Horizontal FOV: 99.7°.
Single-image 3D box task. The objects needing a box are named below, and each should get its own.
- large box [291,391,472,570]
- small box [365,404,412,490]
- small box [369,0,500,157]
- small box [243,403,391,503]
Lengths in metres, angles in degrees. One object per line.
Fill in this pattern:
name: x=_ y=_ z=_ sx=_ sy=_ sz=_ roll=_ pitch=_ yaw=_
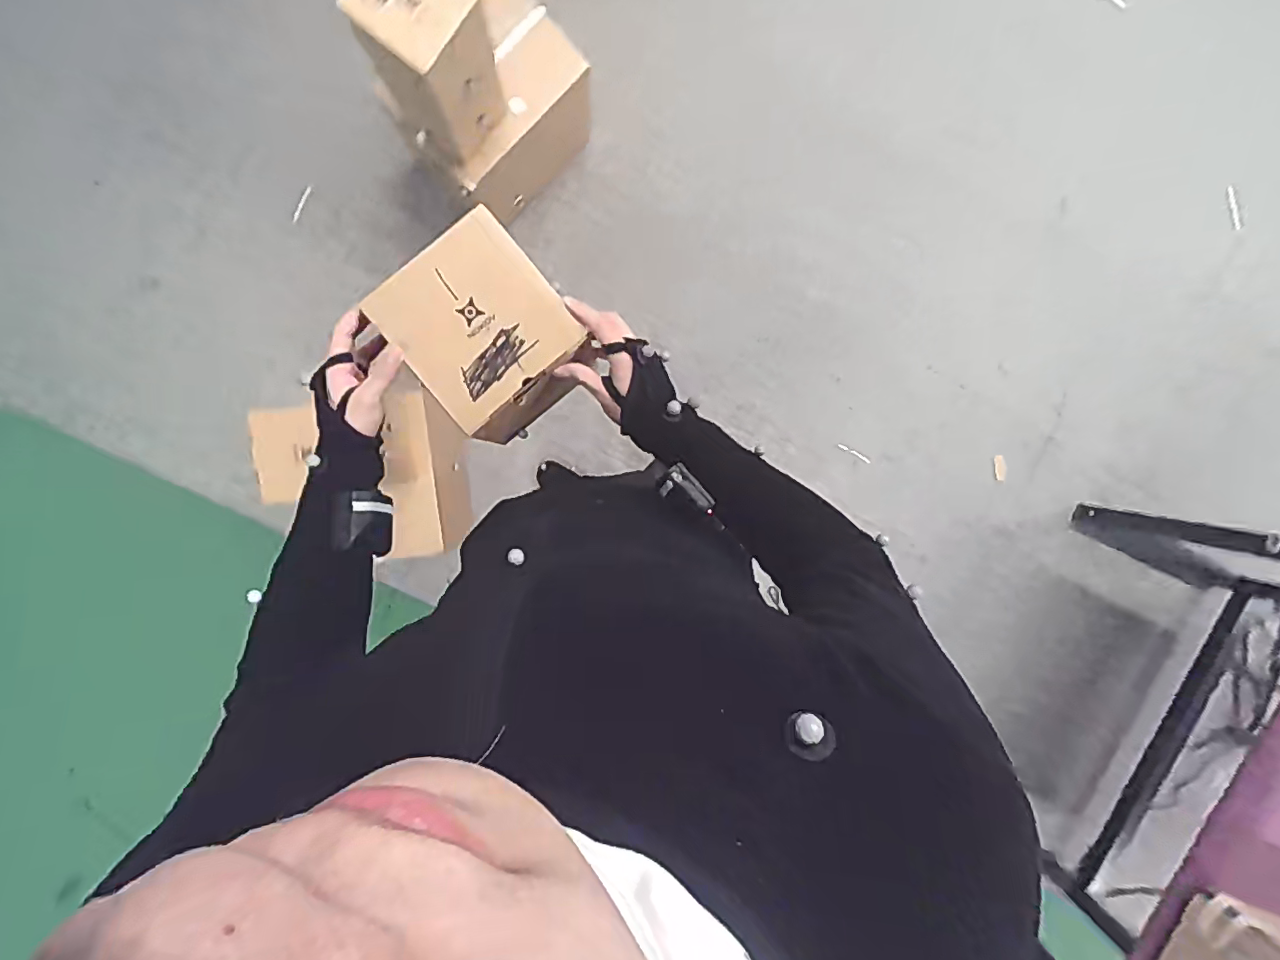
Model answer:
large box: x=-0.659 y=-0.014 z=1.436 sx=0.320 sy=0.320 sz=0.408 roll=-7 pitch=97 yaw=-2
small box: x=-0.619 y=-0.066 z=1.186 sx=0.168 sy=0.176 sz=0.179 roll=-7 pitch=96 yaw=-3
small box: x=-0.416 y=-0.820 z=1.132 sx=0.179 sy=0.176 sz=0.168 roll=37 pitch=91 yaw=-8
small box: x=-0.600 y=-0.054 z=1.024 sx=0.179 sy=0.176 sz=0.168 roll=-6 pitch=96 yaw=-5
